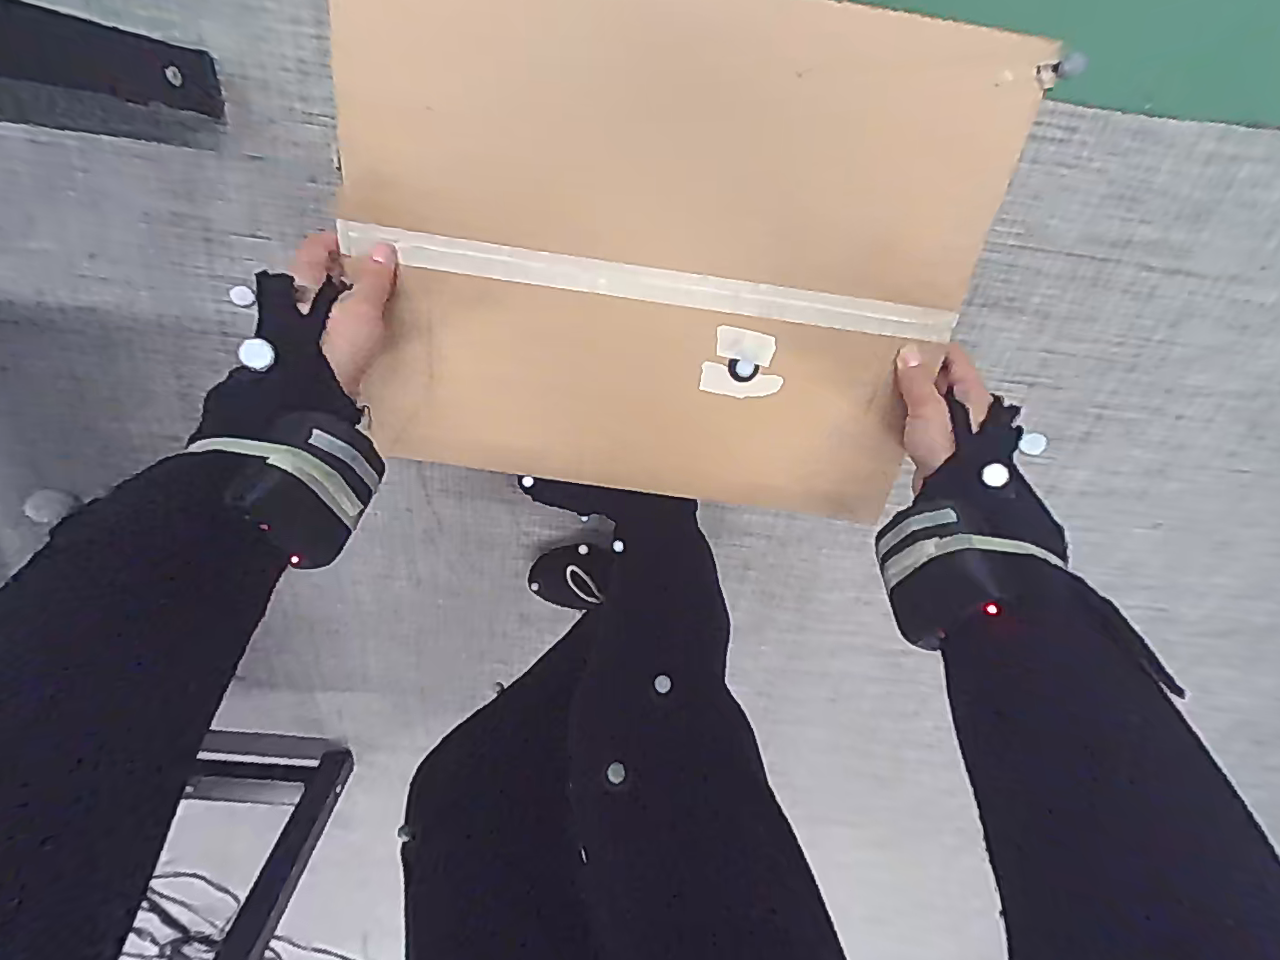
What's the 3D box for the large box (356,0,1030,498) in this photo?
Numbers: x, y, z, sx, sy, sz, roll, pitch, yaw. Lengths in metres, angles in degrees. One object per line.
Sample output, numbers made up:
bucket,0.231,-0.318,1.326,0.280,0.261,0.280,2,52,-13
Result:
large box,0.017,-0.204,0.507,0.408,0.320,0.320,7,116,-3
